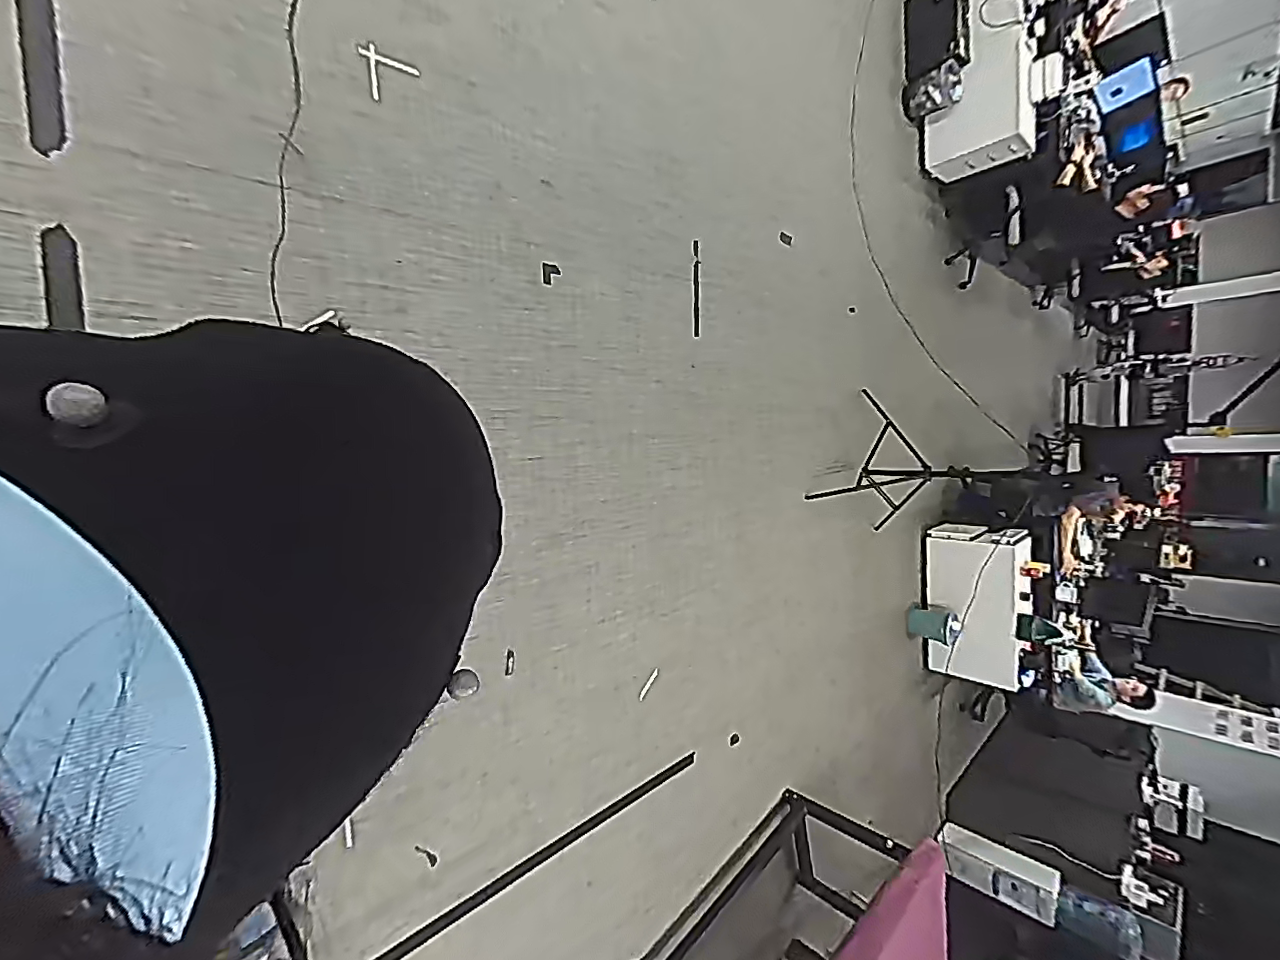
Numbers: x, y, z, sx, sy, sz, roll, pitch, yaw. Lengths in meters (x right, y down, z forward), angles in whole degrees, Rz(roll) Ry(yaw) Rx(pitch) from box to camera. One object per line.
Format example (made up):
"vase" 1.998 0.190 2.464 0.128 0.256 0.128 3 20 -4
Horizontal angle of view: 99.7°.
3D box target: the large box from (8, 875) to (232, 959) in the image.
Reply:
"large box" -0.902 0.948 0.850 0.408 0.320 0.320 -2 94 -44
